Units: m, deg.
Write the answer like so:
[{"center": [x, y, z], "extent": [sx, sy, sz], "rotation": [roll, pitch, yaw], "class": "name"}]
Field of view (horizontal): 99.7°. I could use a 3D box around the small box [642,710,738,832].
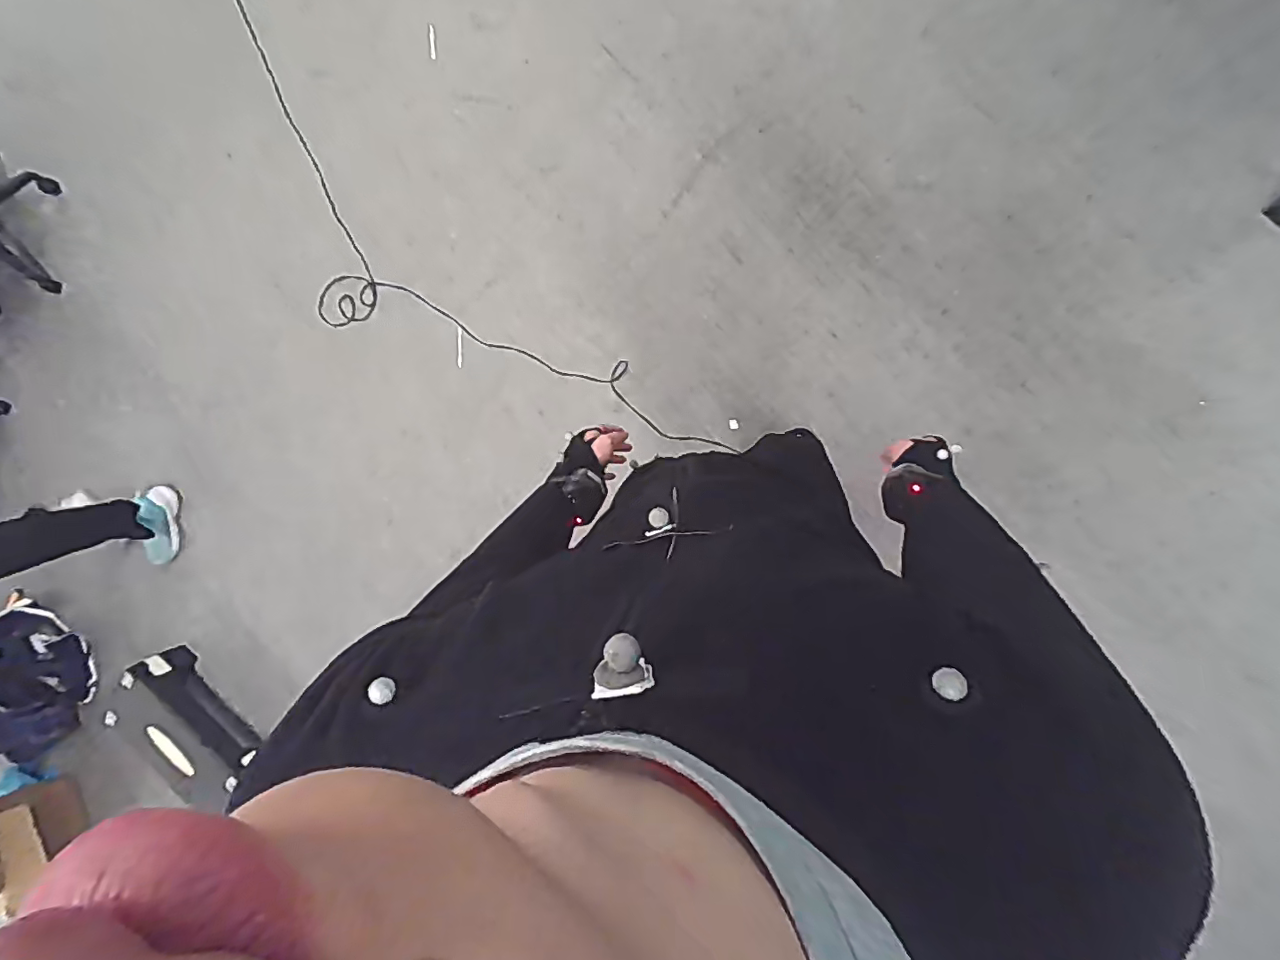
[{"center": [0.137, 0.734, 1.382], "extent": [0.168, 0.176, 0.179], "rotation": [38, 103, 9], "class": "small box"}]
